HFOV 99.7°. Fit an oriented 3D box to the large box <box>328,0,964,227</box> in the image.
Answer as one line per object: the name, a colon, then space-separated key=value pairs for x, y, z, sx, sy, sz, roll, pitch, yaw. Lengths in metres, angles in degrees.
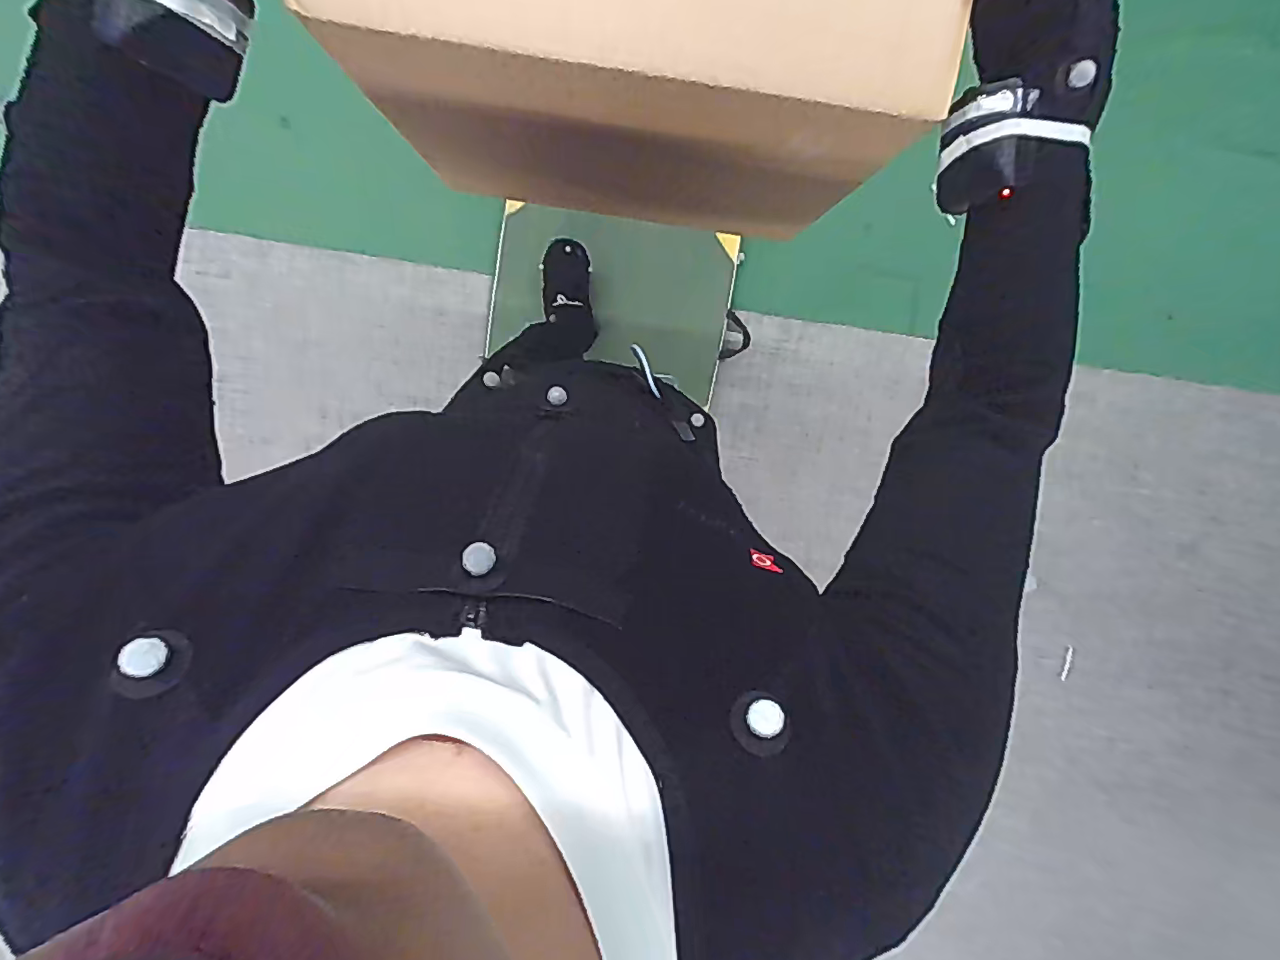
large box: x=0.011 y=-0.440 z=0.460 sx=0.408 sy=0.320 sz=0.320 roll=6 pitch=101 yaw=-5
